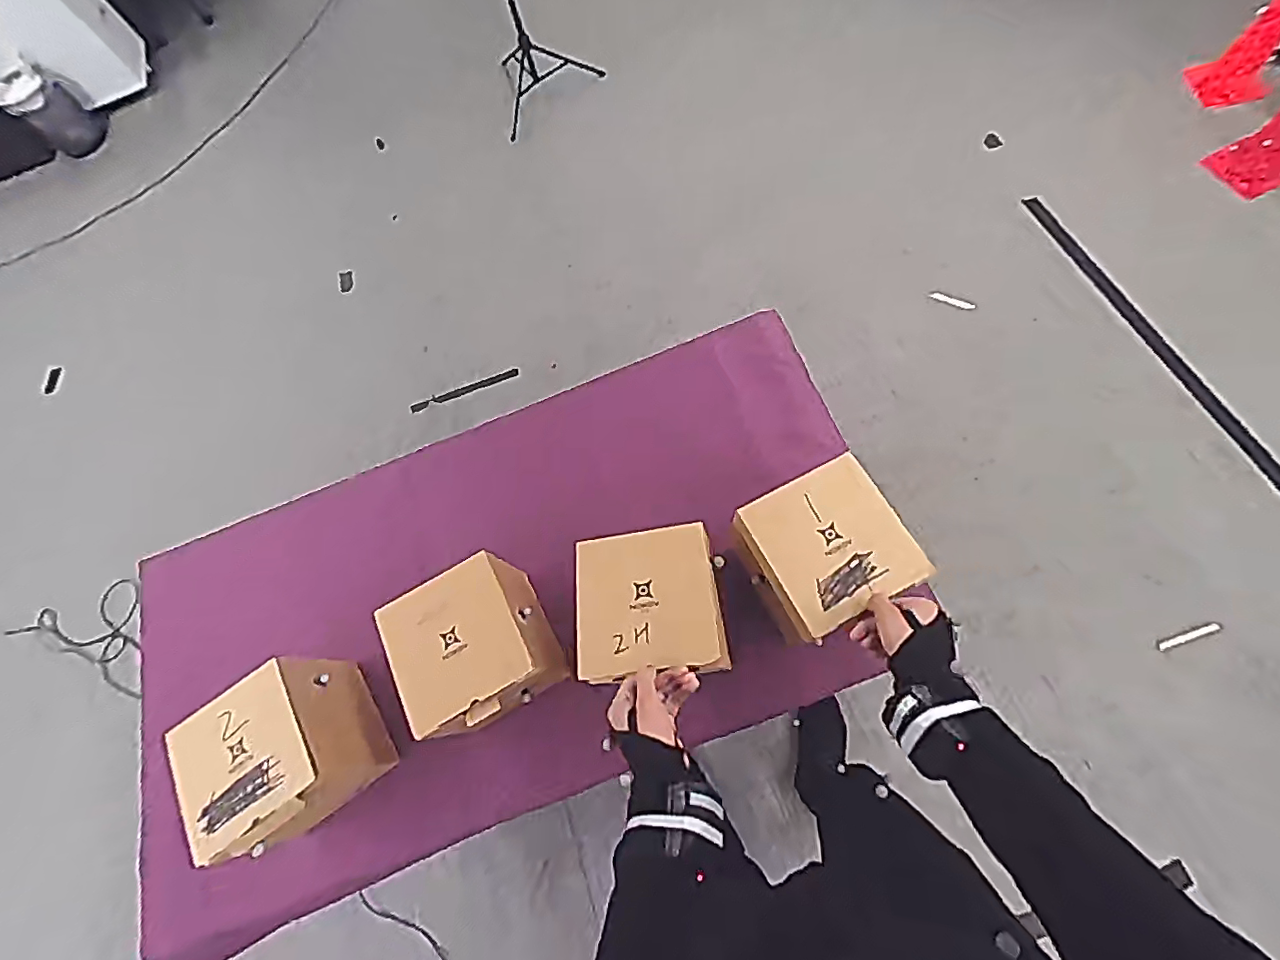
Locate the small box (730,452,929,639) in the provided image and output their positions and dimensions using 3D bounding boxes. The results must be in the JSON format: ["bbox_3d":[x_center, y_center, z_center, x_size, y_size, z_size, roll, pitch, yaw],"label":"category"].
[{"bbox_3d":[0.232,0.097,0.715,0.168,0.176,0.179,-27,68,-4],"label":"small box"}]

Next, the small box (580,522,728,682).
[{"bbox_3d":[0.024,0.172,0.727,0.168,0.176,0.179,-10,69,7],"label":"small box"}]

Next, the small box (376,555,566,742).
[{"bbox_3d":[-0.223,0.231,0.750,0.168,0.176,0.179,-29,68,-3],"label":"small box"}]
